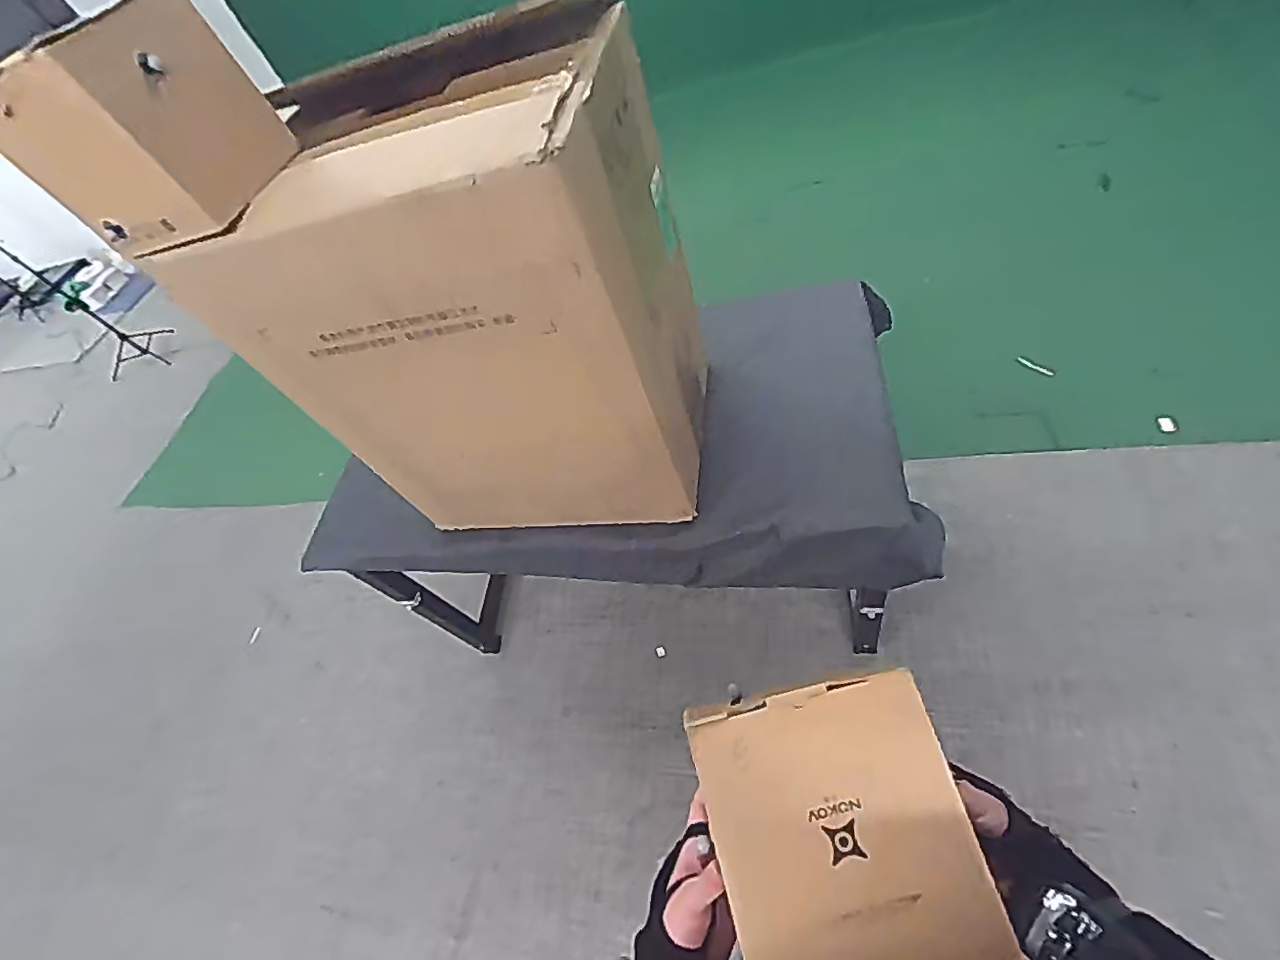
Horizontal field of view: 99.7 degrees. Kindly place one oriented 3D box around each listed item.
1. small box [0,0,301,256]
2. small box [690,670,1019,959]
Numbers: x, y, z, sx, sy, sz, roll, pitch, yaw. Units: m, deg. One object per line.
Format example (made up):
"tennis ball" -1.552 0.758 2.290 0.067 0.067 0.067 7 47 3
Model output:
"small box" -0.517 -0.364 0.583 0.168 0.176 0.179 -3 55 20
"small box" 0.137 0.259 0.427 0.168 0.176 0.179 -14 70 1
